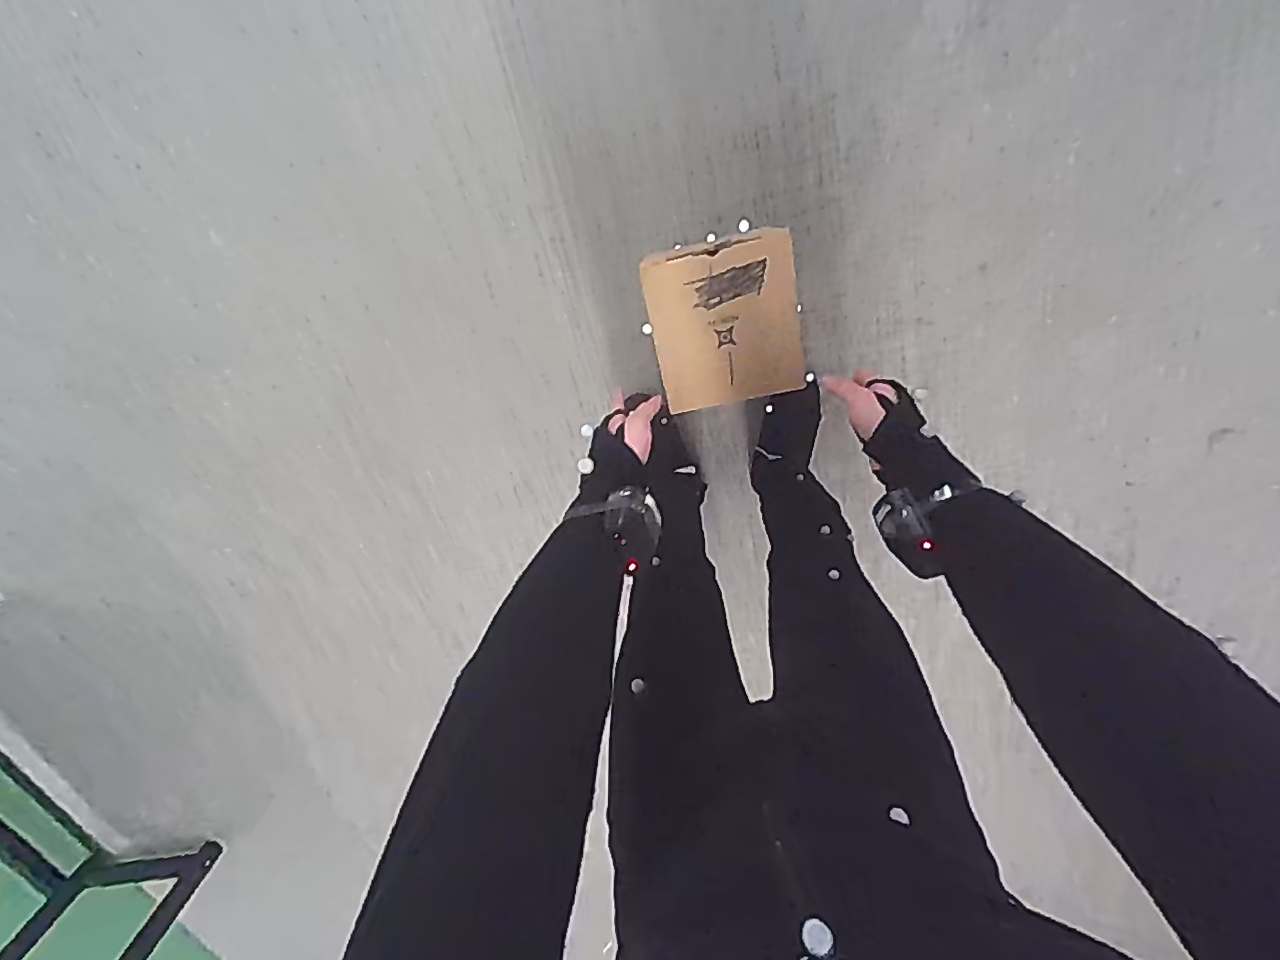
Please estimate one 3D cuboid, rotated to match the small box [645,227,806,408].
[{"bbox_3d":[0.104,-0.210,0.685,0.168,0.176,0.179,-10,115,9],"label":"small box"}]
